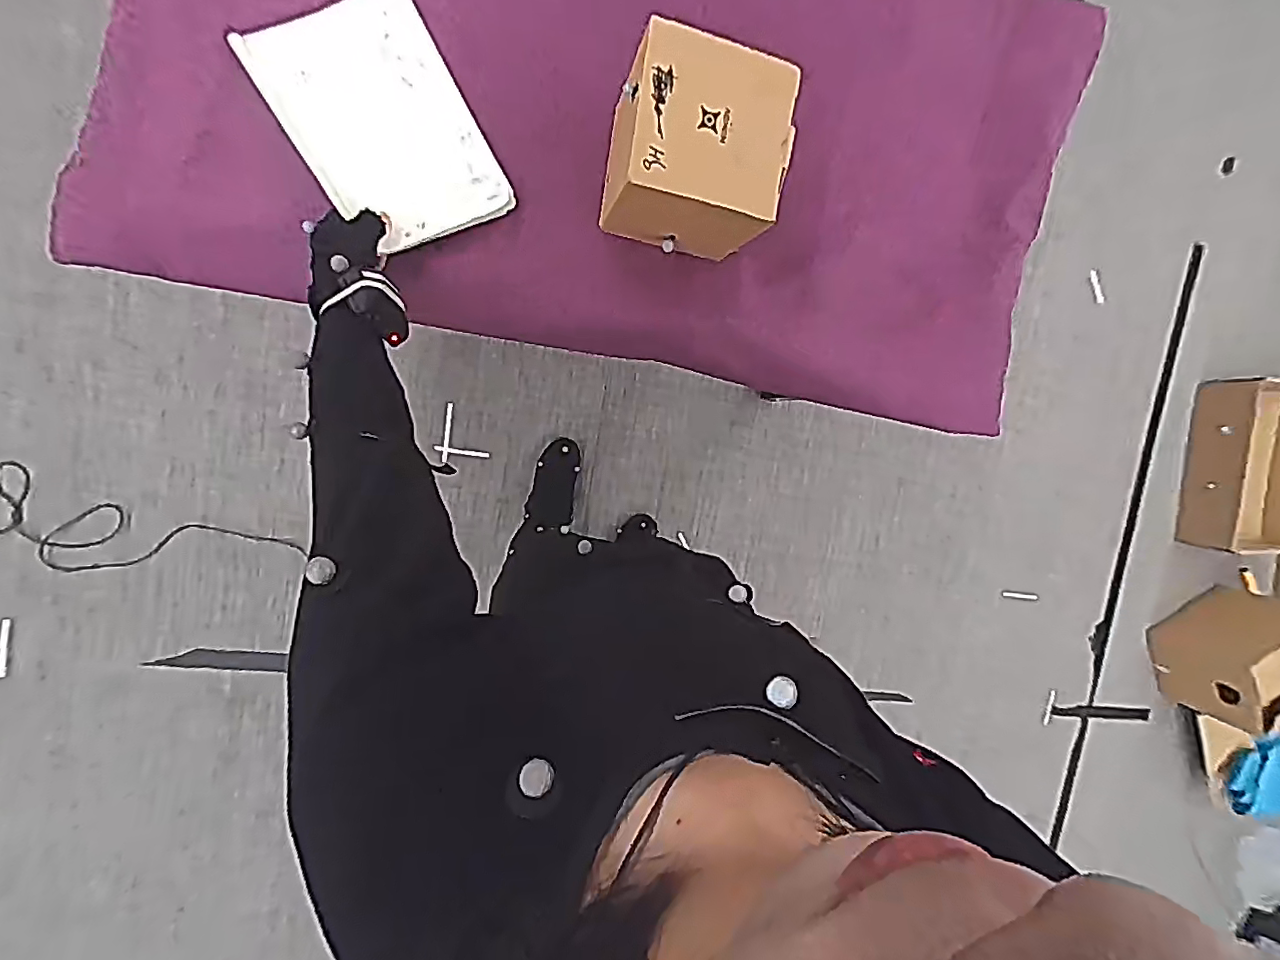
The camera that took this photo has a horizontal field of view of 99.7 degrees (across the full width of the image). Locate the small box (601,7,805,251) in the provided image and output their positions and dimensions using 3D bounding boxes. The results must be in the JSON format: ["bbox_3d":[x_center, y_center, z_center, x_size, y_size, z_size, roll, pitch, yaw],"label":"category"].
[{"bbox_3d":[0.063,-0.390,0.643,0.179,0.176,0.168,8,95,-16],"label":"small box"}]
